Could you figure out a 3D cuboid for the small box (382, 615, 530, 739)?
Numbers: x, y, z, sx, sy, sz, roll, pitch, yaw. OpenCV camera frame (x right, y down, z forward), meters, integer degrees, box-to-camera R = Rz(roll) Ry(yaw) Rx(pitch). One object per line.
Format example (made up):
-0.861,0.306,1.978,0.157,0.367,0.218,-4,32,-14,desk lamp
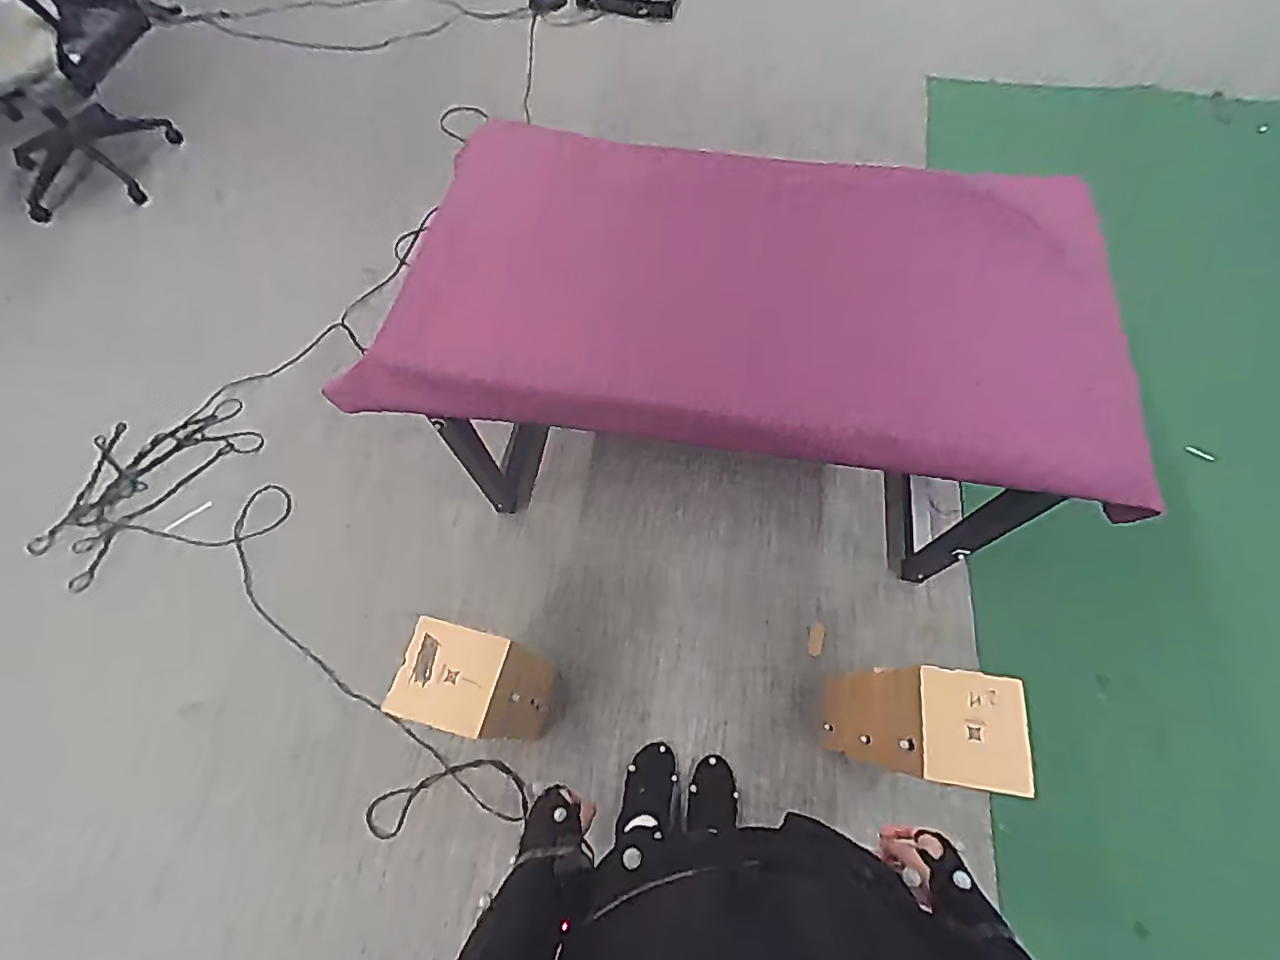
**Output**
-0.322,0.364,0.987,0.179,0.176,0.168,13,66,7,small box

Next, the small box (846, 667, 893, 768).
0.524,0.487,1.089,0.168,0.176,0.179,7,67,5,small box

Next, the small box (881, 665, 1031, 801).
0.532,0.430,0.934,0.168,0.176,0.179,8,67,5,small box

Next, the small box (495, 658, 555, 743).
-0.311,0.508,1.283,0.168,0.176,0.179,12,67,7,small box

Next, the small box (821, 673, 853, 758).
0.523,0.551,1.237,0.179,0.176,0.168,10,66,6,small box
